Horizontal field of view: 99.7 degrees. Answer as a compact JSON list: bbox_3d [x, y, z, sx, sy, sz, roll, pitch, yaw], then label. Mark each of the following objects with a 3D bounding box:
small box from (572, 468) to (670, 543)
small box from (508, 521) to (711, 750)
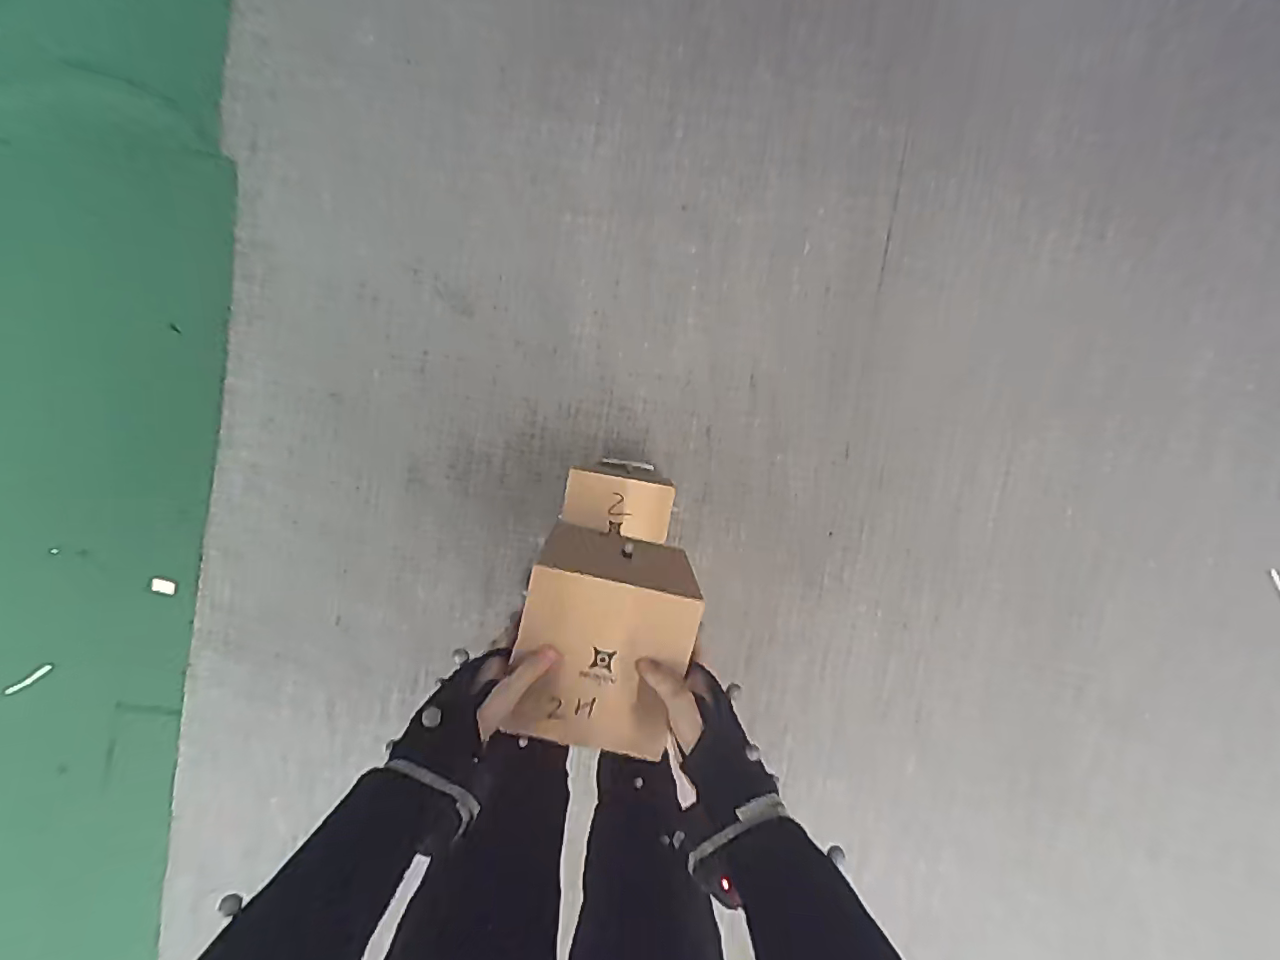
[{"bbox_3d":[-0.046,0.079,1.077,0.168,0.176,0.179,15,95,-1],"label":"small box"},{"bbox_3d":[-0.034,0.159,0.607,0.168,0.176,0.179,15,99,-4],"label":"small box"}]
